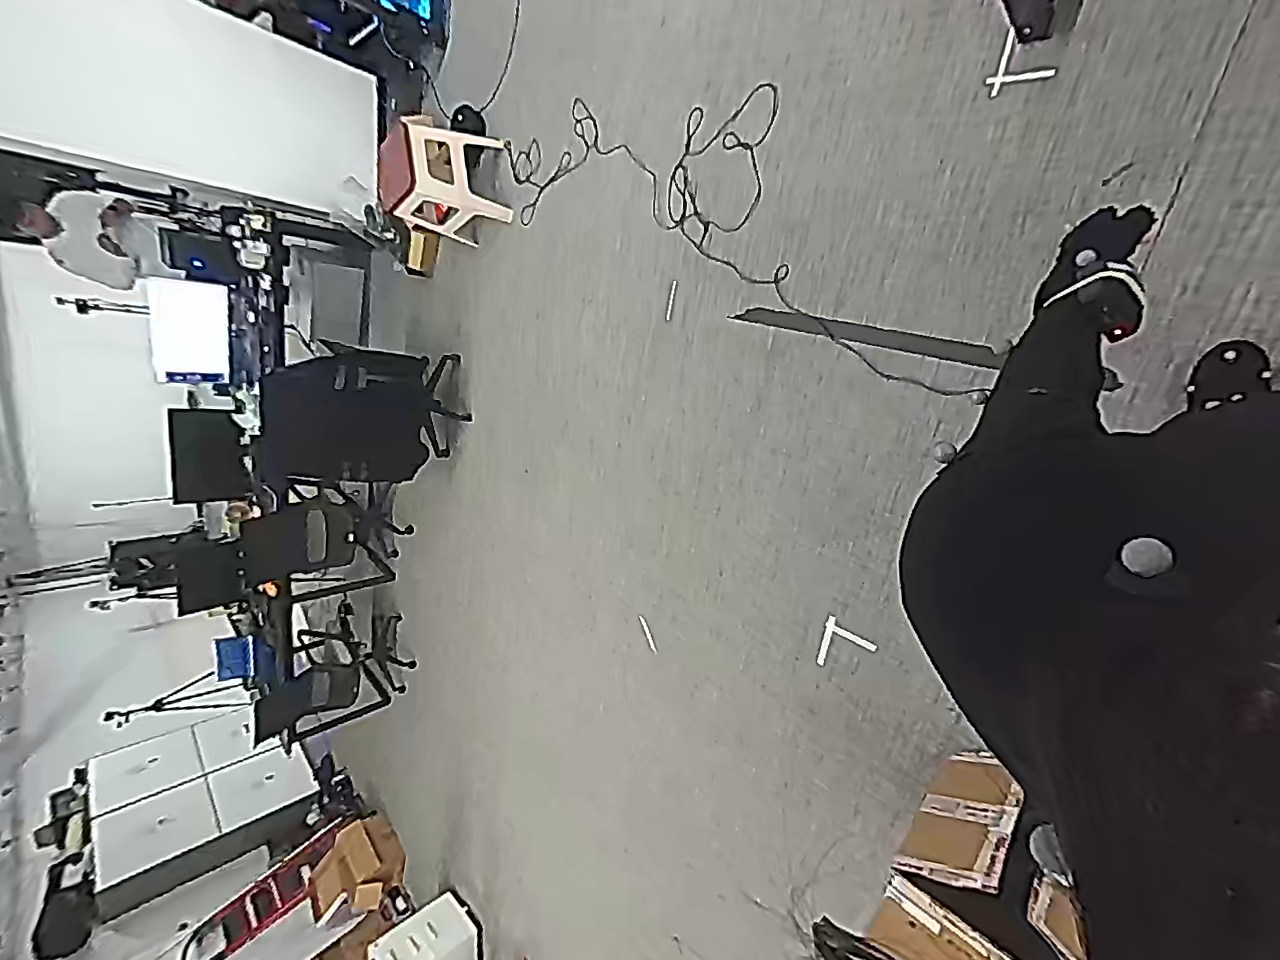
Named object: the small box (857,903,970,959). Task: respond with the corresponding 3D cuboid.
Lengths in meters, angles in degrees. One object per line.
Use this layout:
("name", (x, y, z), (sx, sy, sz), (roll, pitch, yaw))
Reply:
("small box", (0.512, 0.975, 1.026), (0.168, 0.176, 0.179), (22, 113, 43))
